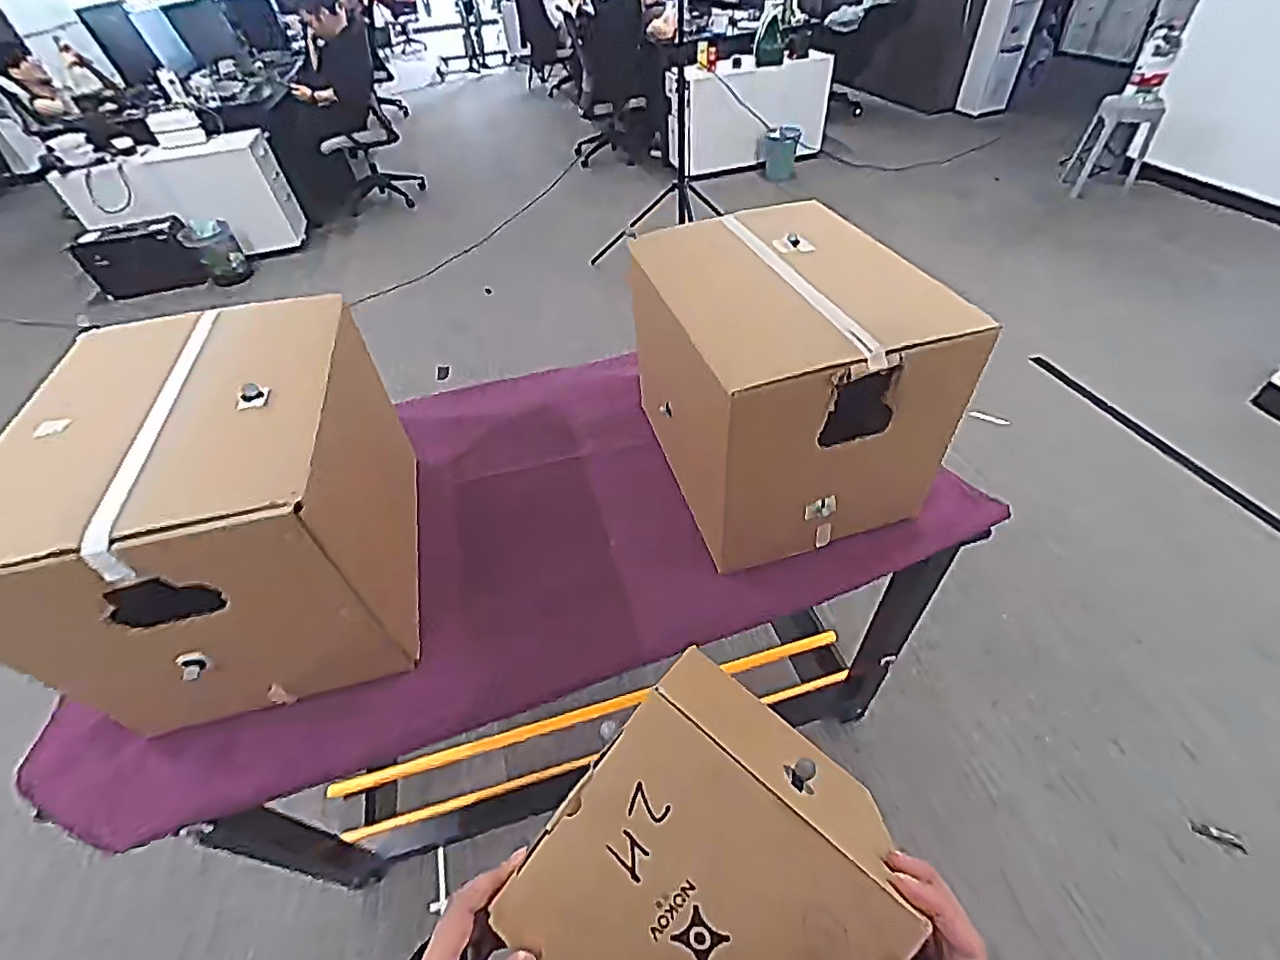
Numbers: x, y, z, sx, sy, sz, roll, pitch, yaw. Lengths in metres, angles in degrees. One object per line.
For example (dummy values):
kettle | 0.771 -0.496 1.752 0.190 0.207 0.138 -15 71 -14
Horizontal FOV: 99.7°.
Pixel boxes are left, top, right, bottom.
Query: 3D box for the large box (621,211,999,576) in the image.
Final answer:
large box | 0.188 -0.139 0.779 0.320 0.320 0.408 -15 45 -9
